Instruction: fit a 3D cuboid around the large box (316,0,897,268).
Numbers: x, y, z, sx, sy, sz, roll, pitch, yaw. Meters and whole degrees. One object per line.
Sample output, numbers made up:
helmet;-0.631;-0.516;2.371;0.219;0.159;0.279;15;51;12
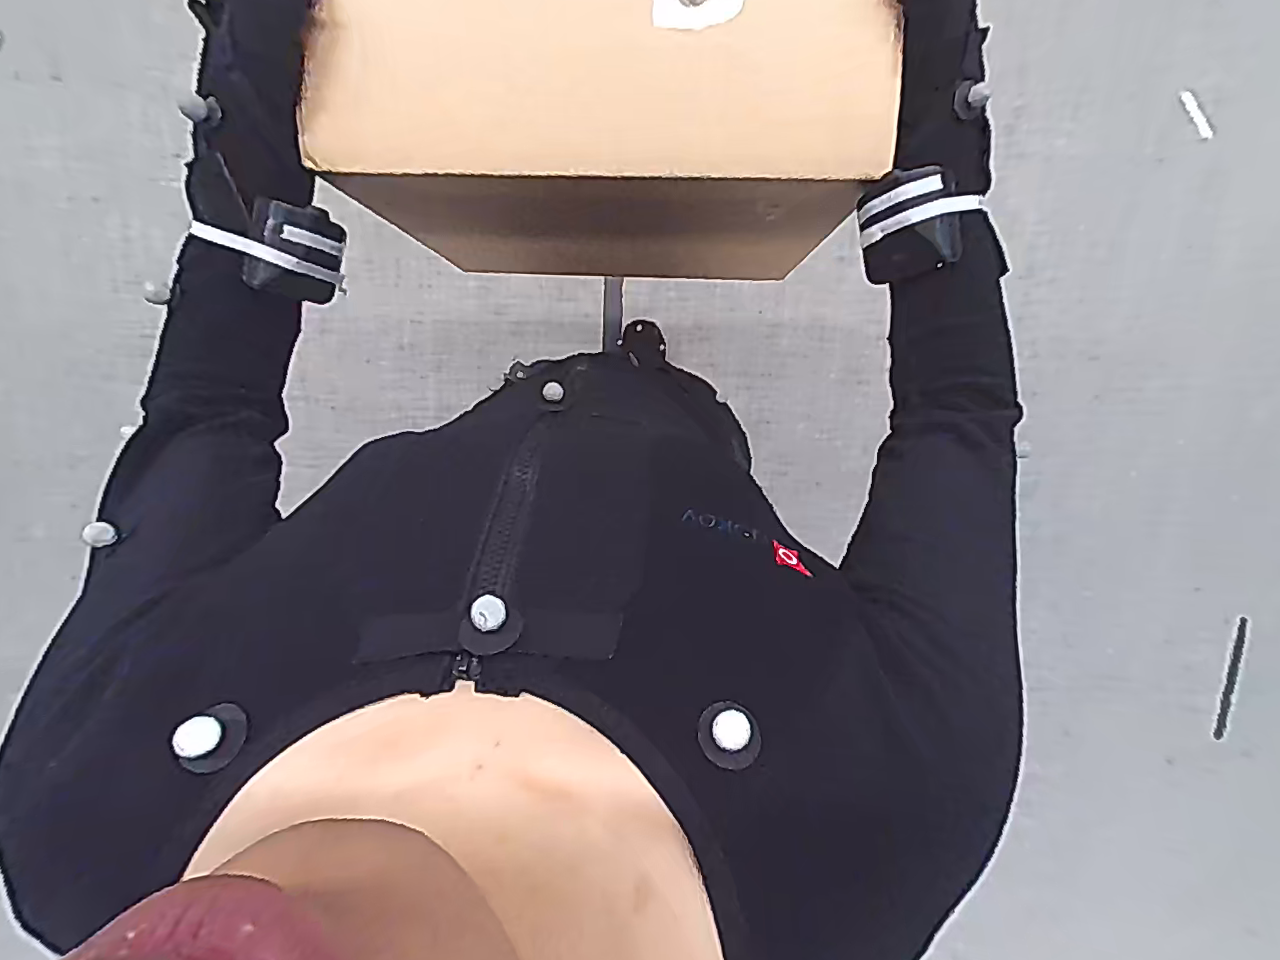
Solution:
large box;-0.021;-0.398;0.508;0.408;0.320;0.320;1;99;1
